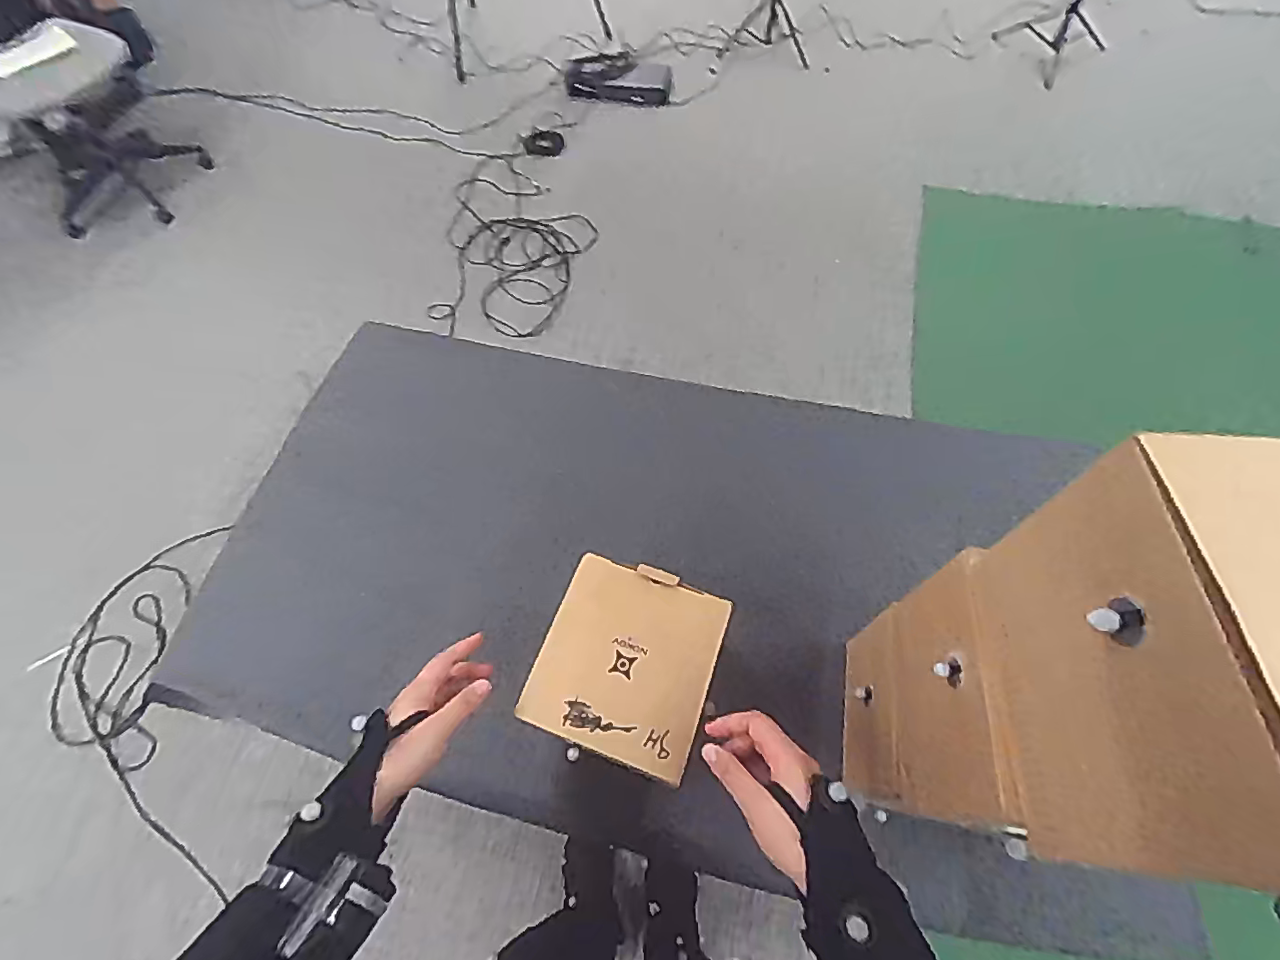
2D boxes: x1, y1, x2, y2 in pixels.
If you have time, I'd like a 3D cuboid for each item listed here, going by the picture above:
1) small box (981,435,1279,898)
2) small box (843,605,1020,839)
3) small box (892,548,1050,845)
[{"bbox_3d":[0.301,0.099,0.264,0.168,0.176,0.179,3,60,6],"label":"small box"},{"bbox_3d":[0.316,0.251,0.554,0.168,0.176,0.179,10,60,8],"label":"small box"},{"bbox_3d":[0.306,0.173,0.412,0.168,0.176,0.179,7,61,7],"label":"small box"}]
